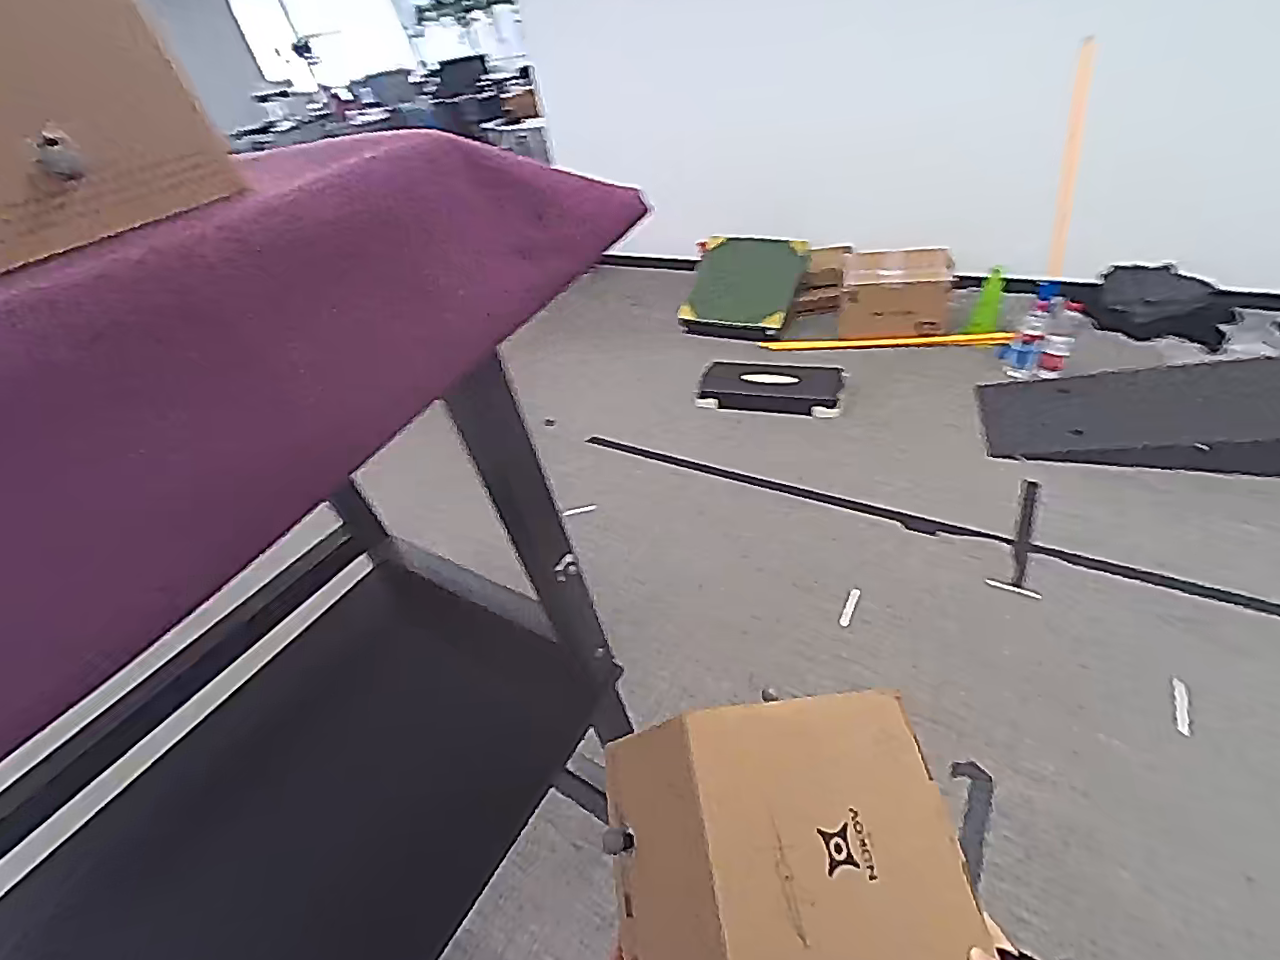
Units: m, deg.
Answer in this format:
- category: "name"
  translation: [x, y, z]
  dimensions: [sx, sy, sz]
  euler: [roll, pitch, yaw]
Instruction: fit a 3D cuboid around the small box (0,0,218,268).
- category: "small box"
  translation: [-0.397, -0.233, 0.313]
  dimensions: [0.168, 0.176, 0.179]
  euler: [17, 49, 31]
